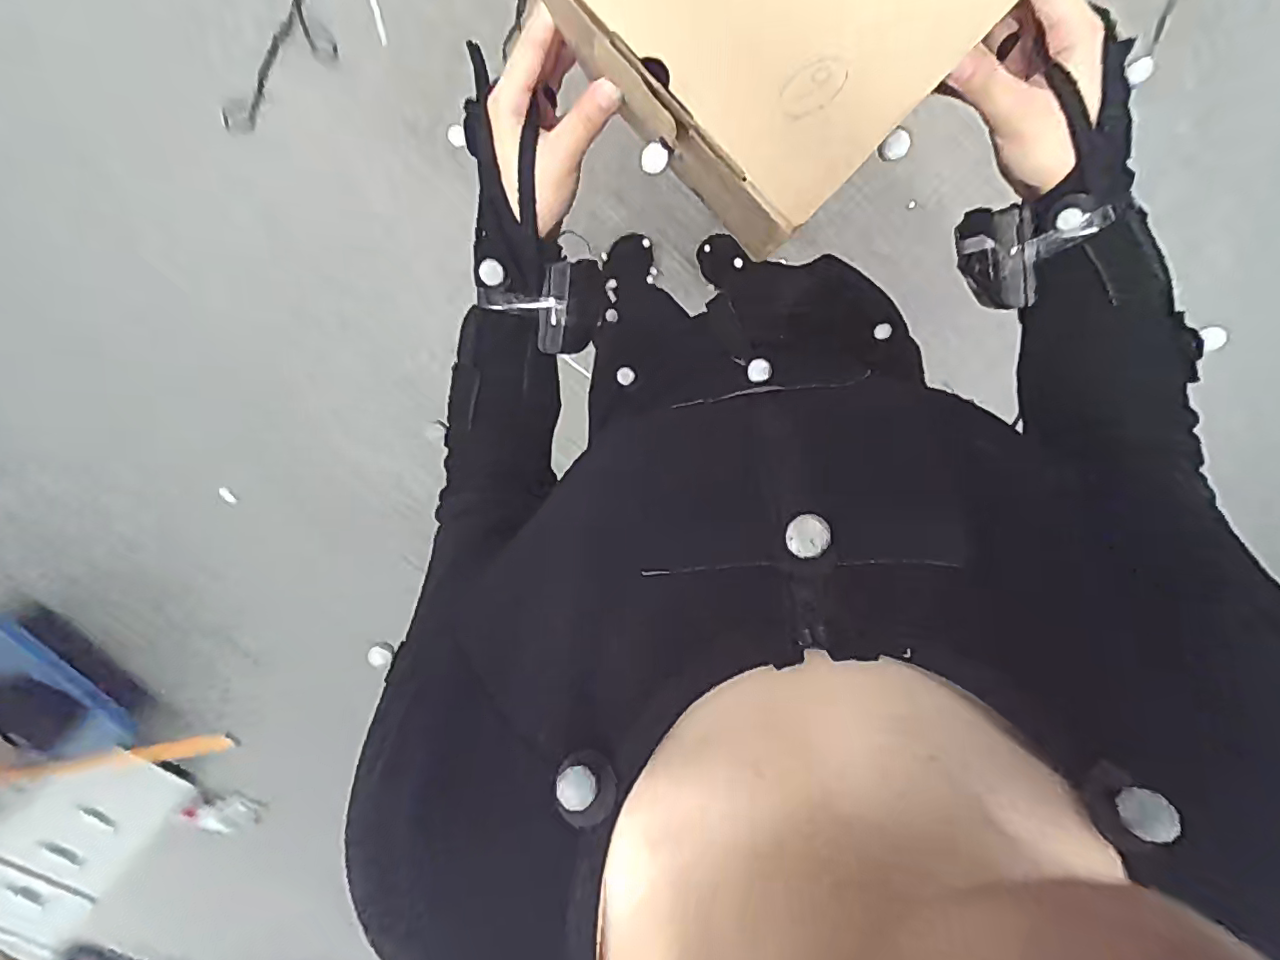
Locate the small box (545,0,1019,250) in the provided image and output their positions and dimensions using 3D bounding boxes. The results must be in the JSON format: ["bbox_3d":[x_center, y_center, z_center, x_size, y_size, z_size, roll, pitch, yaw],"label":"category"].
[{"bbox_3d":[0.073,-0.239,0.268,0.168,0.176,0.179,45,109,-8],"label":"small box"}]
